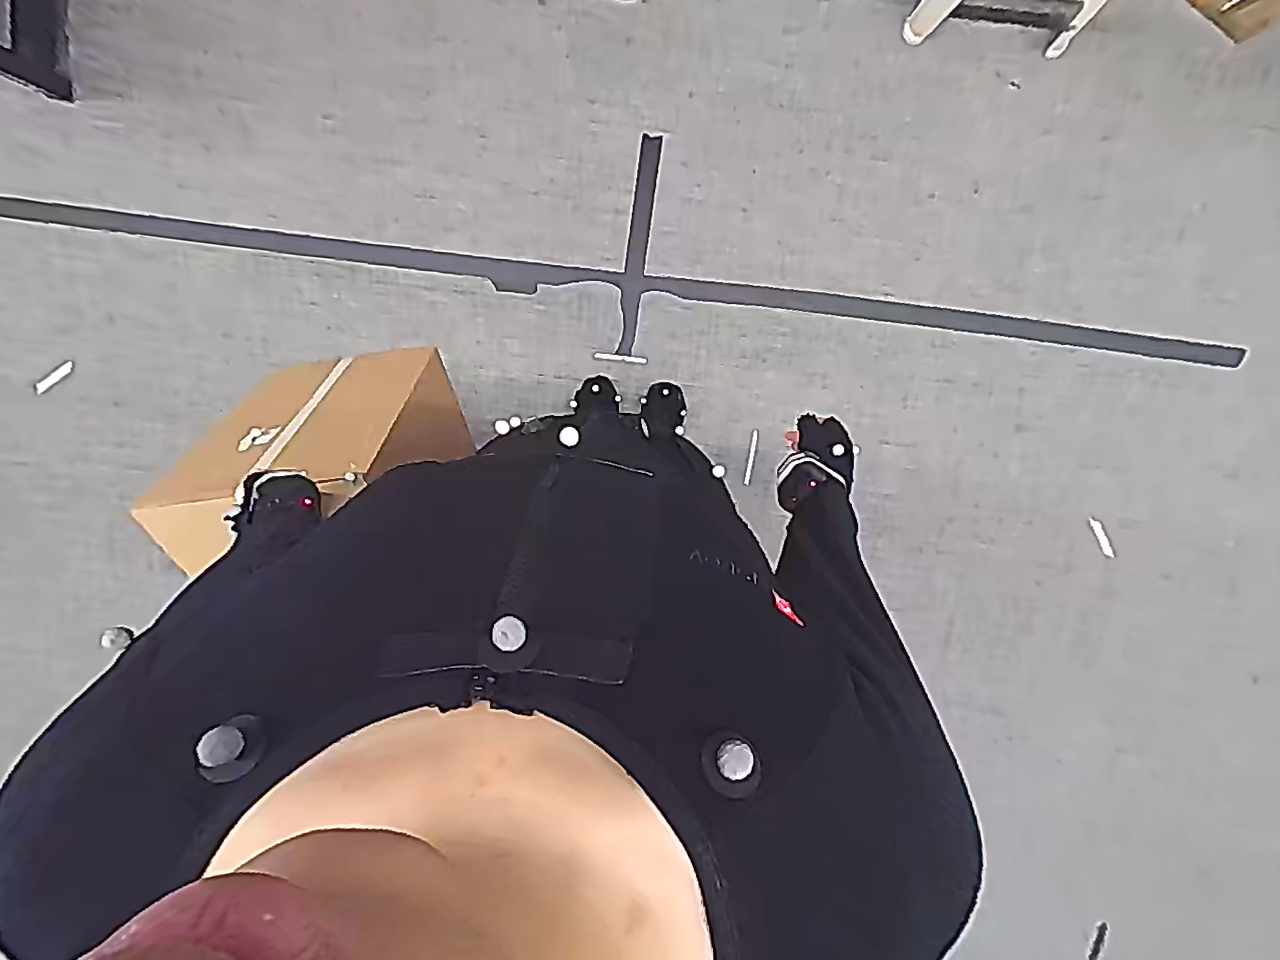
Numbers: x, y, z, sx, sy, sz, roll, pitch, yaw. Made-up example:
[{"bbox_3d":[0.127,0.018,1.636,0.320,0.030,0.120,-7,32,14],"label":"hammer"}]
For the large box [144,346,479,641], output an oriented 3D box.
[{"bbox_3d":[-0.500,0.010,0.950,0.320,0.408,0.320,-9,130,2],"label":"large box"}]
